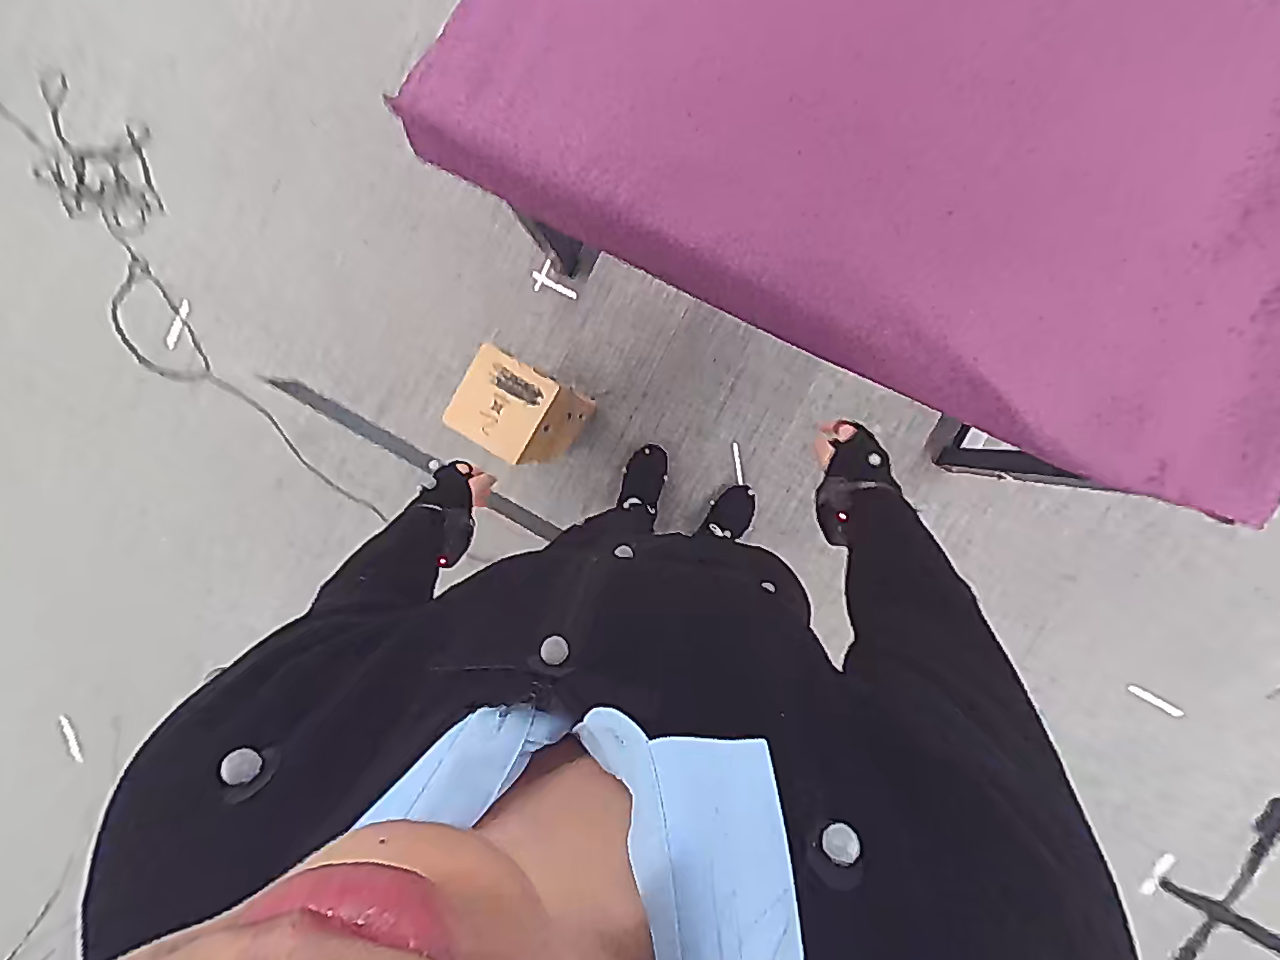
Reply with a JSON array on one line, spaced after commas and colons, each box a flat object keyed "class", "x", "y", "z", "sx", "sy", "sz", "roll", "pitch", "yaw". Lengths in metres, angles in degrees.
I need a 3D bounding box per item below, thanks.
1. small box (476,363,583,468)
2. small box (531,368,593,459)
[{"class": "small box", "x": -0.243, "y": -0.145, "z": 1.245, "sx": 0.168, "sy": 0.176, "sz": 0.179, "roll": 29, "pitch": 96, "yaw": 1}, {"class": "small box", "x": -0.238, "y": -0.164, "z": 1.409, "sx": 0.168, "sy": 0.176, "sz": 0.179, "roll": 34, "pitch": 95, "yaw": 0}]
